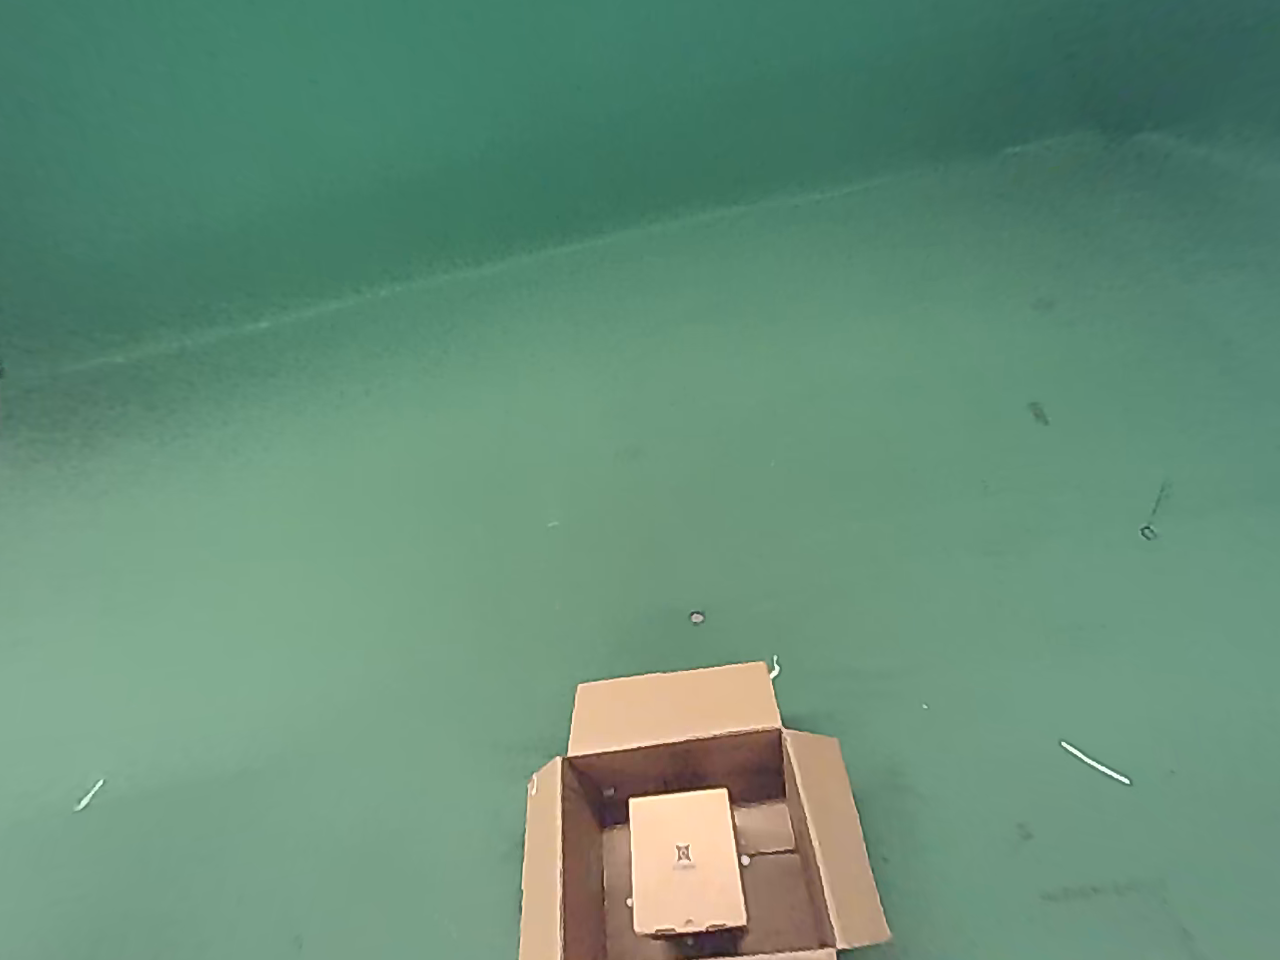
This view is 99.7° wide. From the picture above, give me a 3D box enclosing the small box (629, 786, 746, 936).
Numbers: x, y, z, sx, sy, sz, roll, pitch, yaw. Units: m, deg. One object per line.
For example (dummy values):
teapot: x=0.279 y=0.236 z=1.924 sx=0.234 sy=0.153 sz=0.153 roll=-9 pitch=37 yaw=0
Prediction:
small box: x=0.076 y=0.625 z=0.885 sx=0.168 sy=0.176 sz=0.179 roll=-9 pitch=48 yaw=4
